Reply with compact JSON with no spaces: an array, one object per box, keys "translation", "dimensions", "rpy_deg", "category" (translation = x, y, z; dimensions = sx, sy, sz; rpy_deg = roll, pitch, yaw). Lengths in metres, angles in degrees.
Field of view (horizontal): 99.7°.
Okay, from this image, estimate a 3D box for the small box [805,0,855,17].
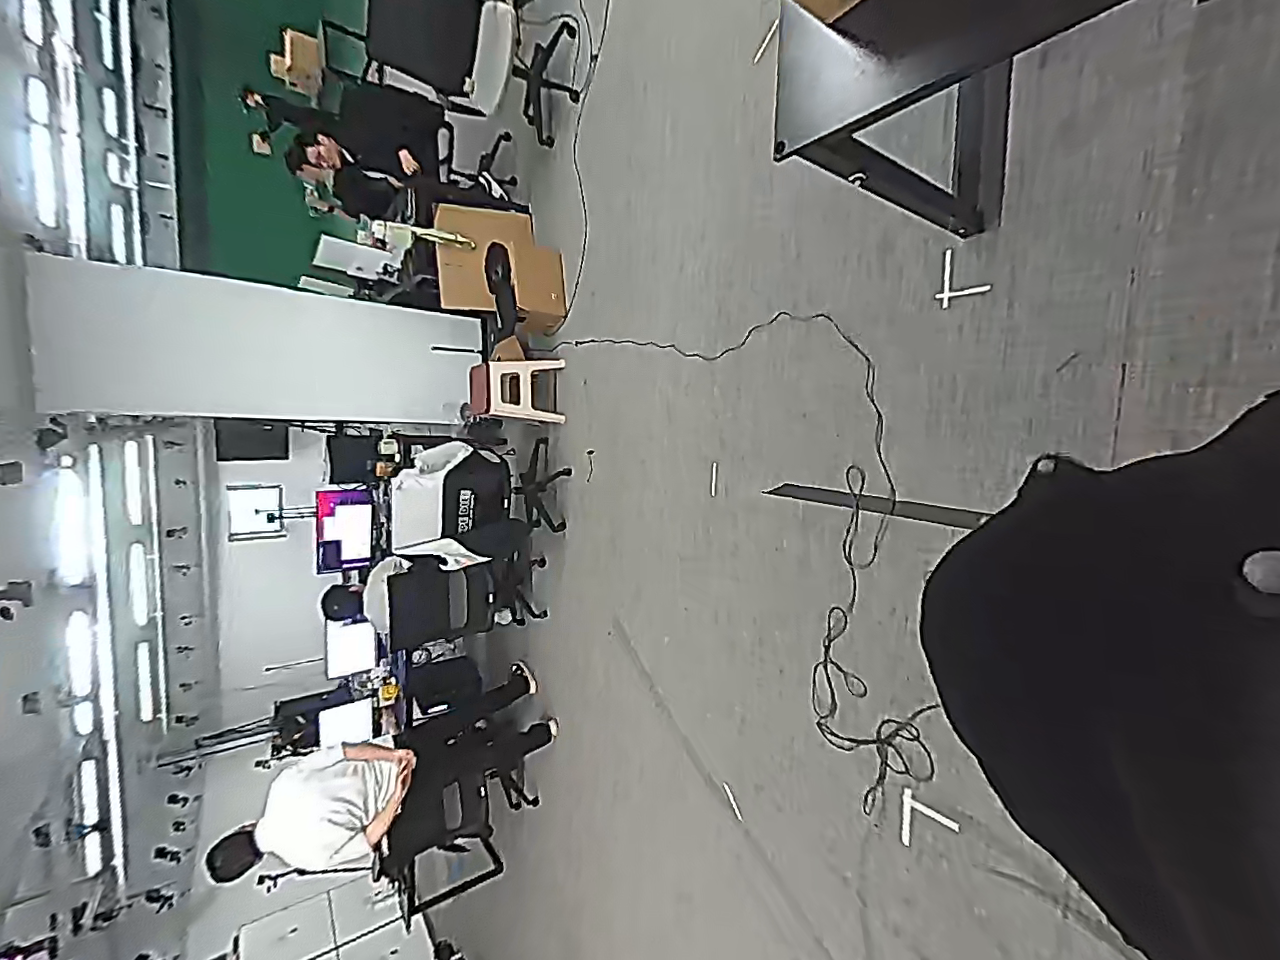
[{"translation":[0.297,-0.858,0.803],"dimensions":[0.168,0.176,0.179],"rpy_deg":[5,97,54],"category":"small box"}]
